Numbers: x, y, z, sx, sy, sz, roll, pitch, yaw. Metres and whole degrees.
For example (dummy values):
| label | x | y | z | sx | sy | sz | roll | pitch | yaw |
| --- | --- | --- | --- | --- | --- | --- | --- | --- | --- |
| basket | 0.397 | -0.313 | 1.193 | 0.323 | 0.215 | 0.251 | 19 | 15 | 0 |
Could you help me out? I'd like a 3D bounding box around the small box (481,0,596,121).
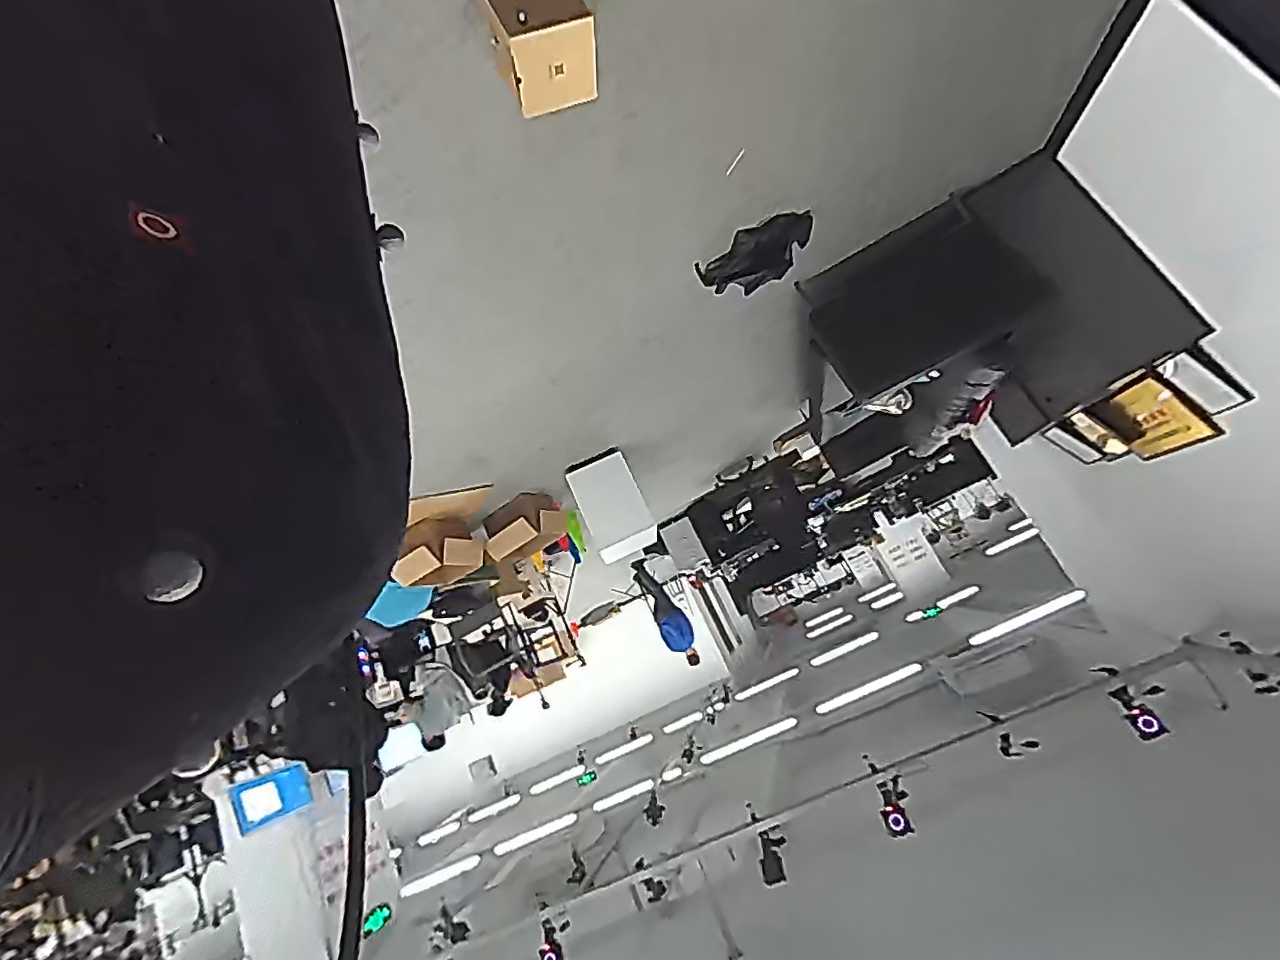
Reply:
| label | x | y | z | sx | sy | sz | roll | pitch | yaw |
| --- | --- | --- | --- | --- | --- | --- | --- | --- | --- |
| small box | -0.206 | -0.899 | 1.119 | 0.179 | 0.176 | 0.168 | -23 | 164 | -9 |
